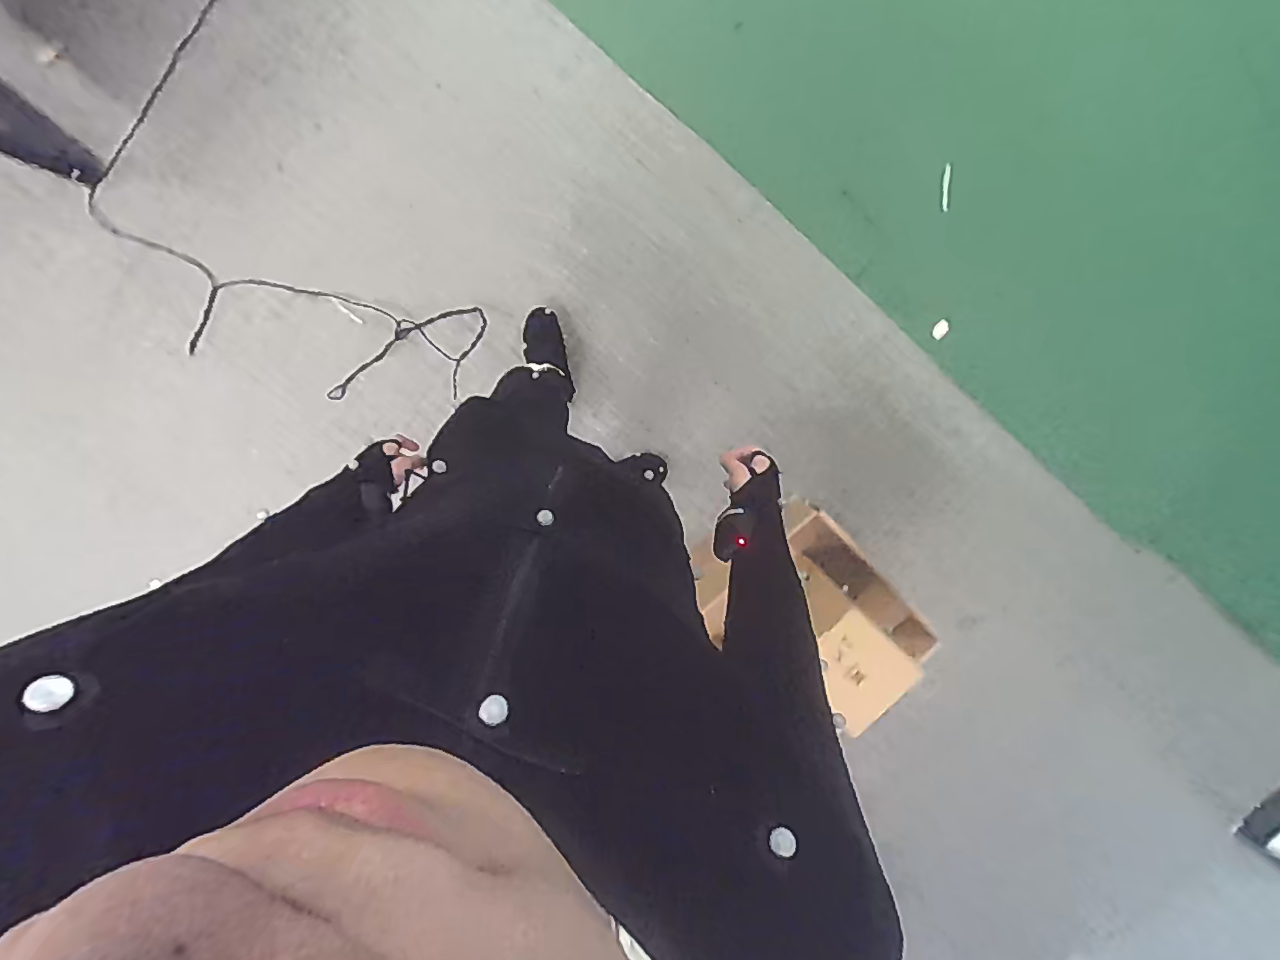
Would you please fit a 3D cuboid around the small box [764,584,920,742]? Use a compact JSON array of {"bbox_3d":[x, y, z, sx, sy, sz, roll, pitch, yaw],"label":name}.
[{"bbox_3d":[0.353,0.319,0.979,0.179,0.176,0.168,43,96,-5],"label":"small box"}]
